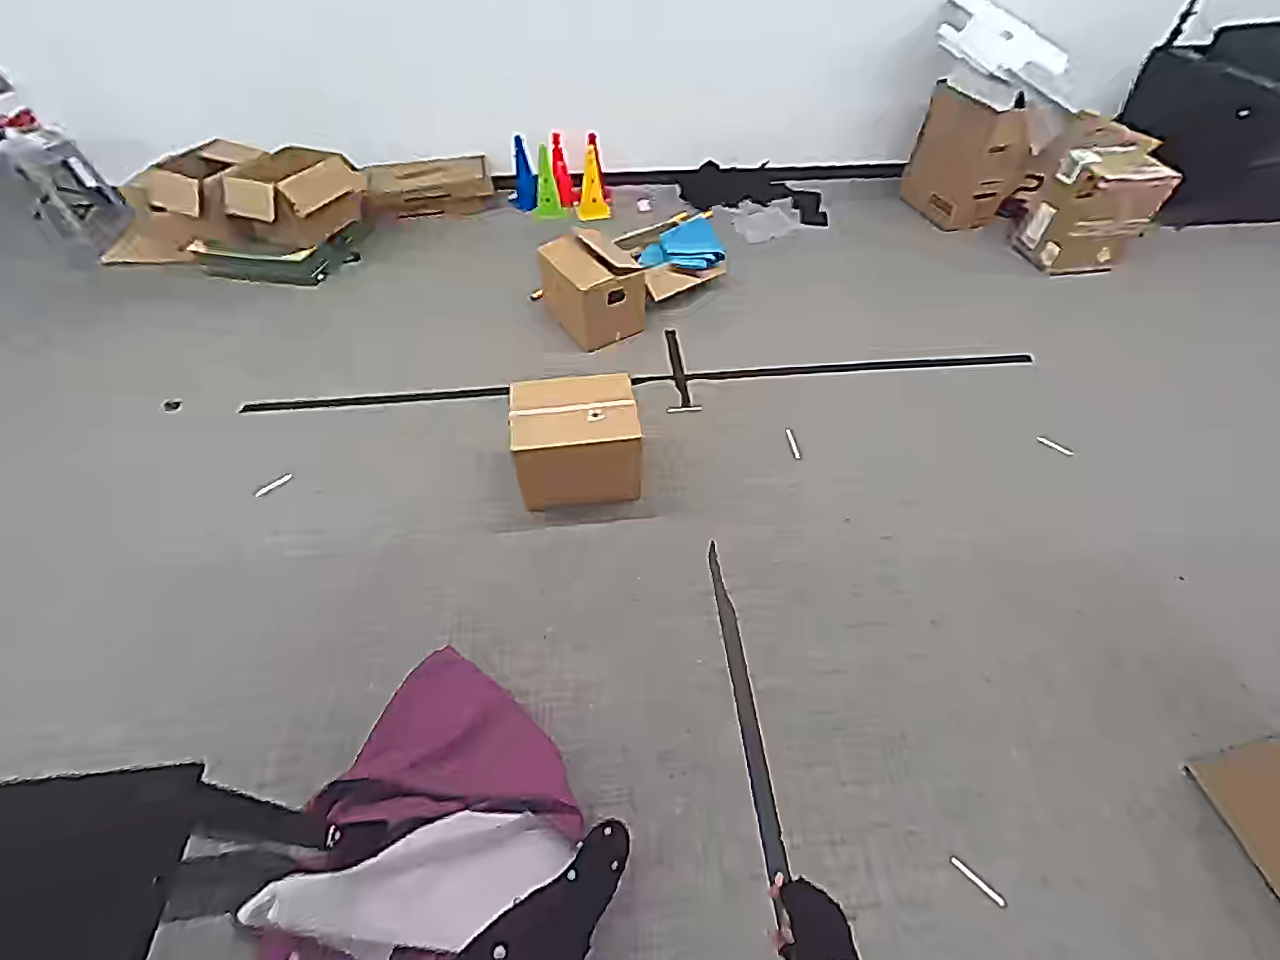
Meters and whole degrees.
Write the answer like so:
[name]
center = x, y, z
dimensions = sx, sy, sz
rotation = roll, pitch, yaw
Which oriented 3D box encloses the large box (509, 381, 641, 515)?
[large box]
center = -0.221, -0.108, 1.854
dimensions = 0.408, 0.320, 0.320
rotation = -6, 51, -7
